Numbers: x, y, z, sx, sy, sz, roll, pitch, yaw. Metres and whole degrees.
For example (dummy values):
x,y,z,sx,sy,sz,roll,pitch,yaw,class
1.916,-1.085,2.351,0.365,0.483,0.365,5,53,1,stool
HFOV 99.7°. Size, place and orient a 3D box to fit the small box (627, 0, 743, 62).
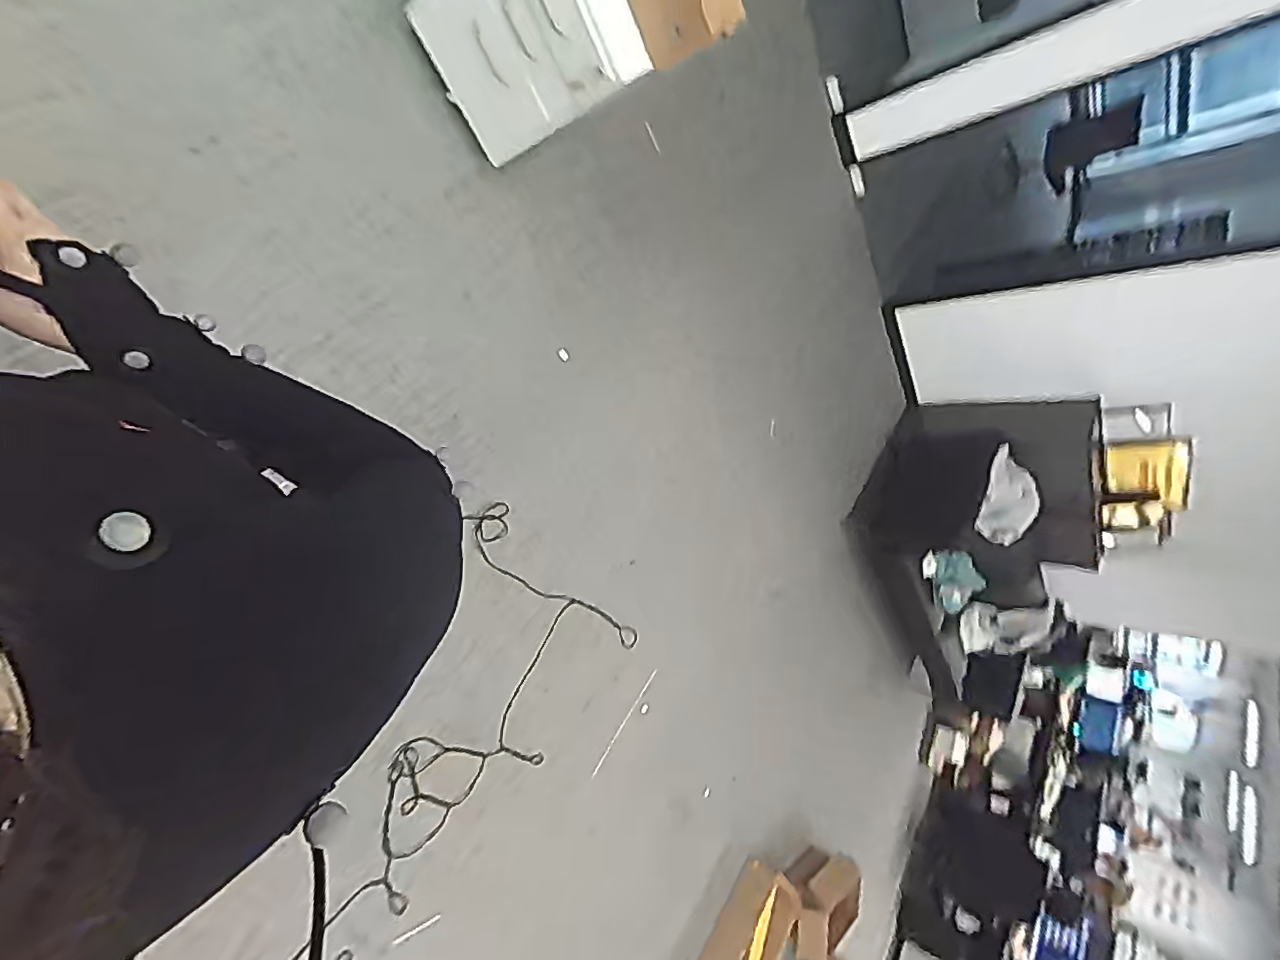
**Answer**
x,y,z,sx,sy,sz,roll,pitch,yaw,class
0.091,-1.058,1.182,0.168,0.176,0.179,-52,125,-30,small box
